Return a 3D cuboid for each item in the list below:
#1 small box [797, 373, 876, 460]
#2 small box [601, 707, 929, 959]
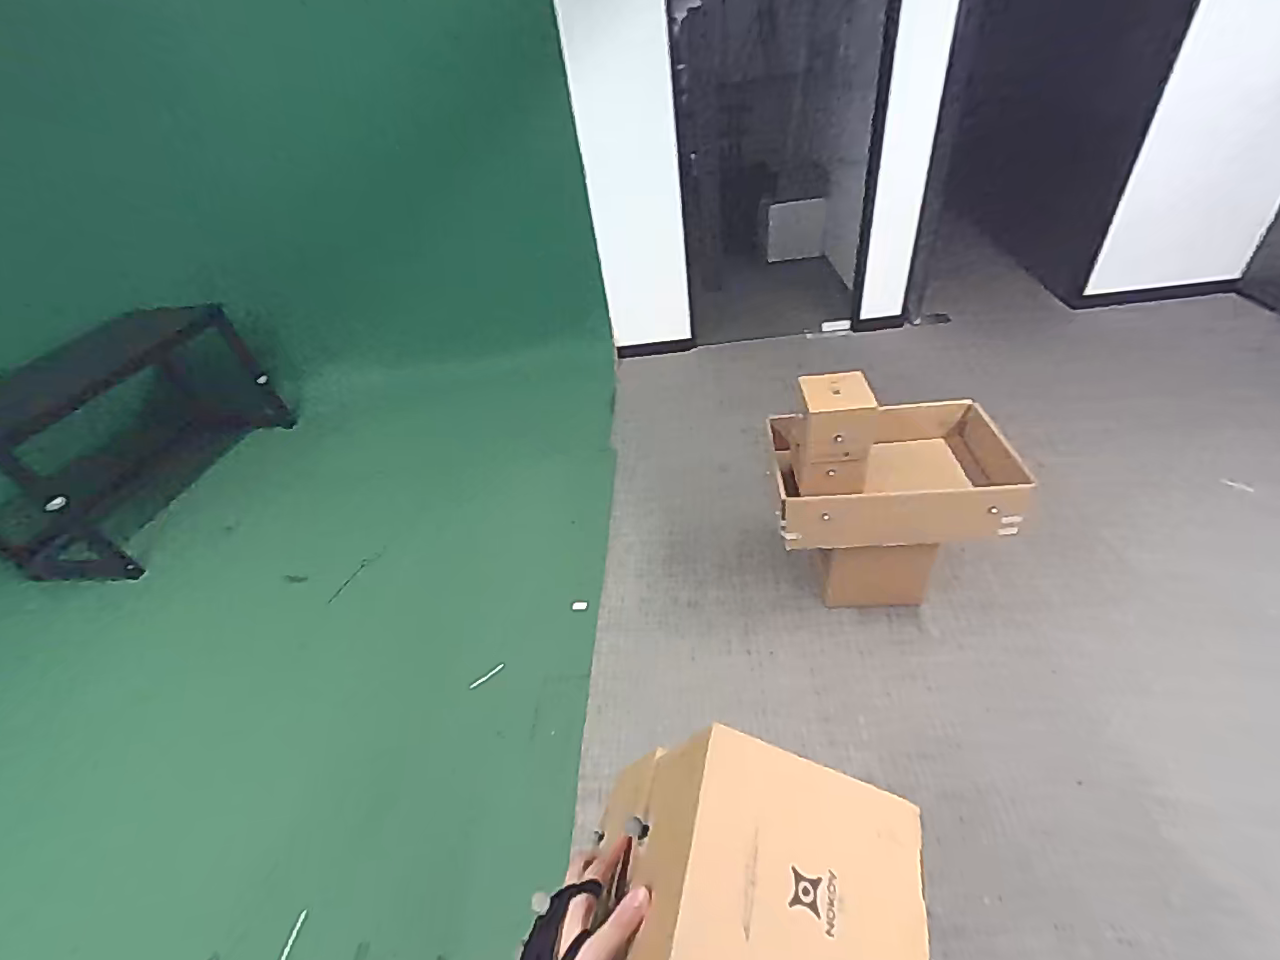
[{"bbox_3d":[0.517,-0.164,1.443,0.168,0.176,0.179,-4,40,8],"label":"small box"},{"bbox_3d":[0.090,0.306,0.415,0.179,0.176,0.168,24,49,-1],"label":"small box"}]
